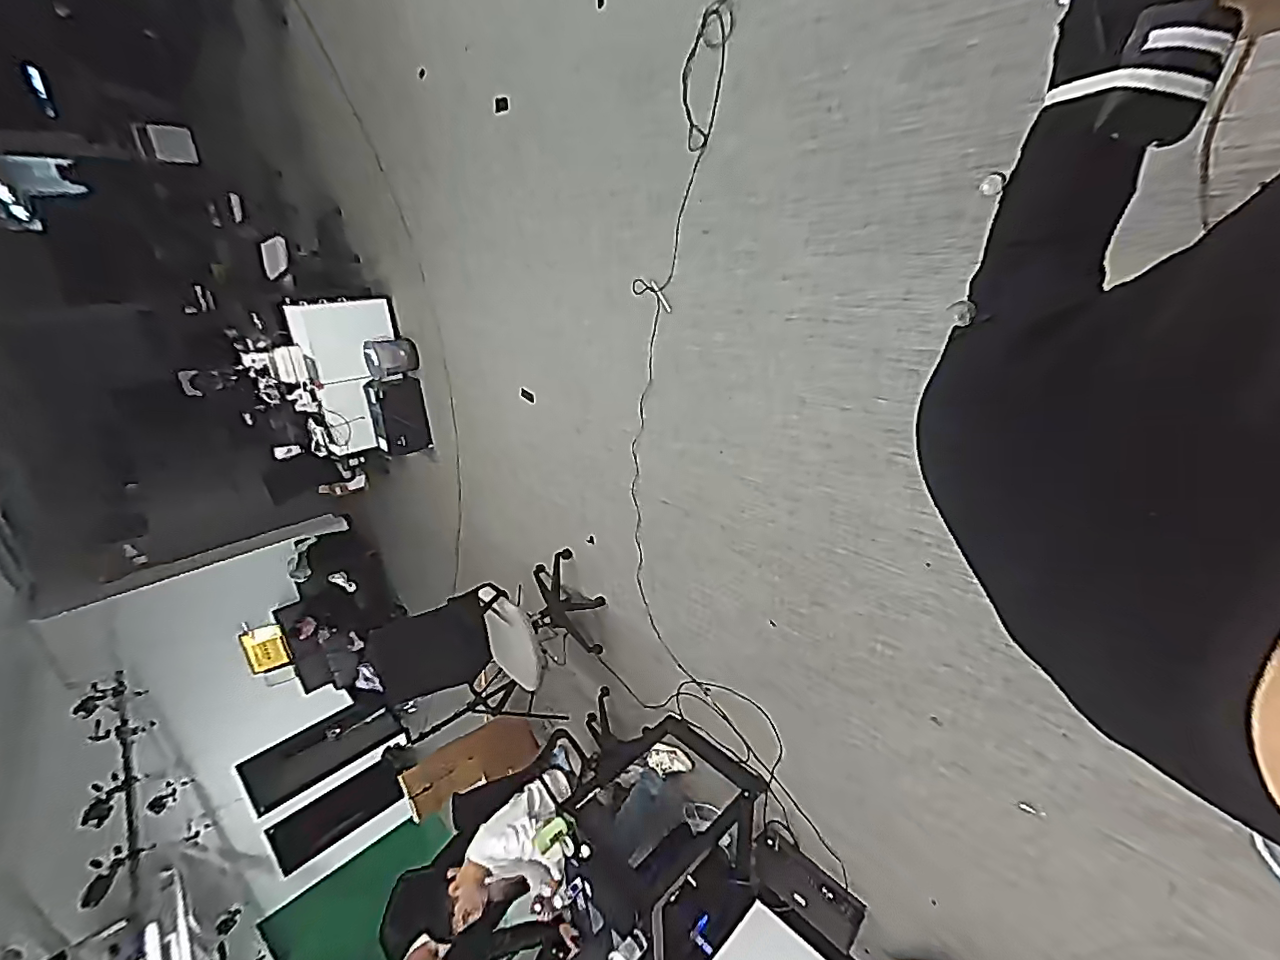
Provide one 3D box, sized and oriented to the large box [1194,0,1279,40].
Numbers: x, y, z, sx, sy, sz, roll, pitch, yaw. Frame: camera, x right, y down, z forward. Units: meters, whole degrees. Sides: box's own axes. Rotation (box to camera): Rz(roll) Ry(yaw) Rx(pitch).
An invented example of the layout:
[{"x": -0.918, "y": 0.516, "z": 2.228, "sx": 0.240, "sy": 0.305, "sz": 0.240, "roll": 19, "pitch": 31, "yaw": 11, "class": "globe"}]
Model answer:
[{"x": 0.573, "y": -0.464, "z": 0.242, "sx": 0.408, "sy": 0.320, "sz": 0.320, "roll": 18, "pitch": 127, "yaw": 43, "class": "large box"}]
